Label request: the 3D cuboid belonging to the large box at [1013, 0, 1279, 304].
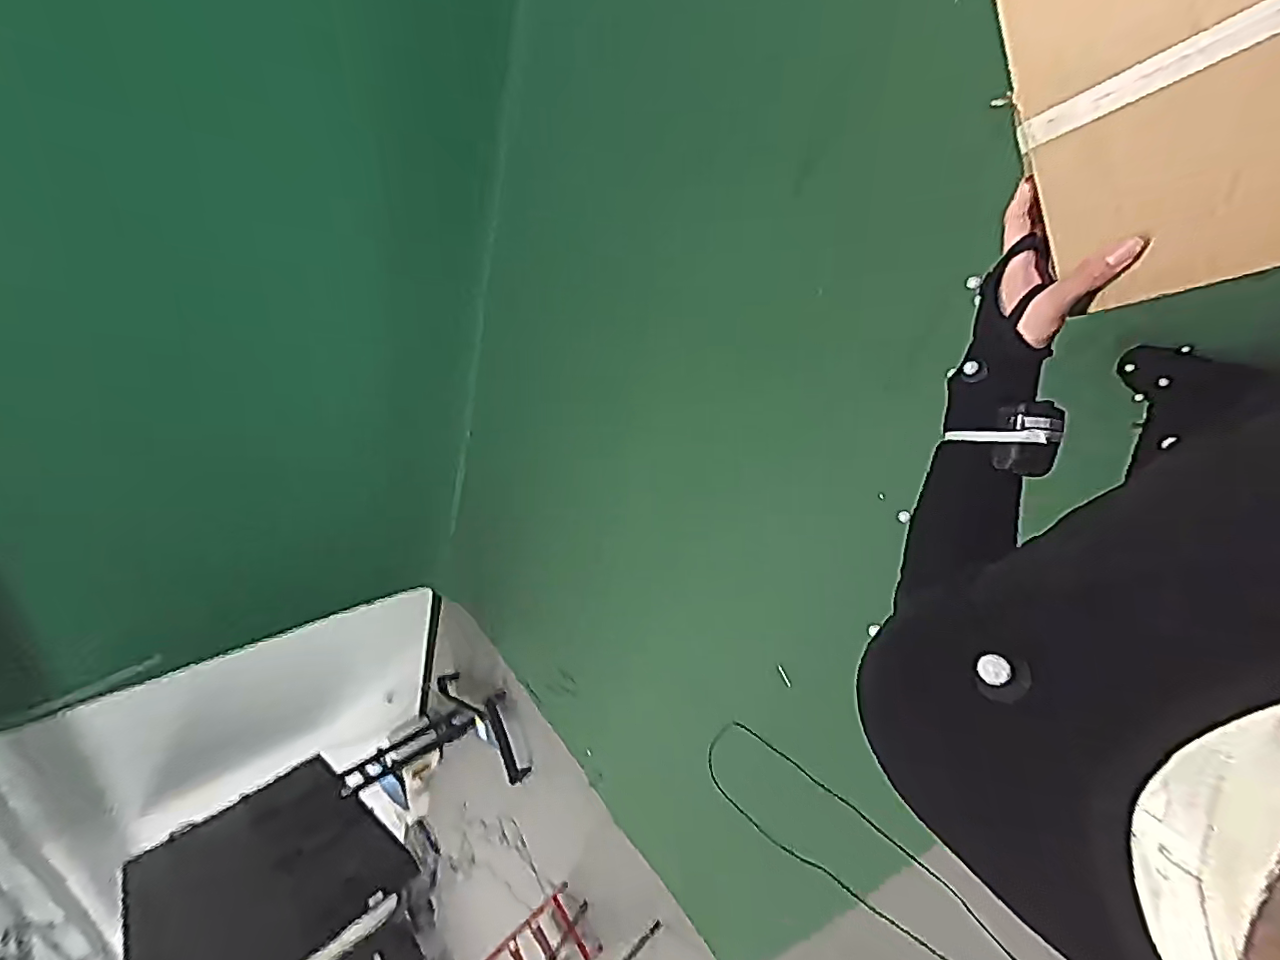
[{"bbox_3d":[0.554,-0.364,0.380,0.408,0.320,0.320,-7,108,50],"label":"large box"}]
